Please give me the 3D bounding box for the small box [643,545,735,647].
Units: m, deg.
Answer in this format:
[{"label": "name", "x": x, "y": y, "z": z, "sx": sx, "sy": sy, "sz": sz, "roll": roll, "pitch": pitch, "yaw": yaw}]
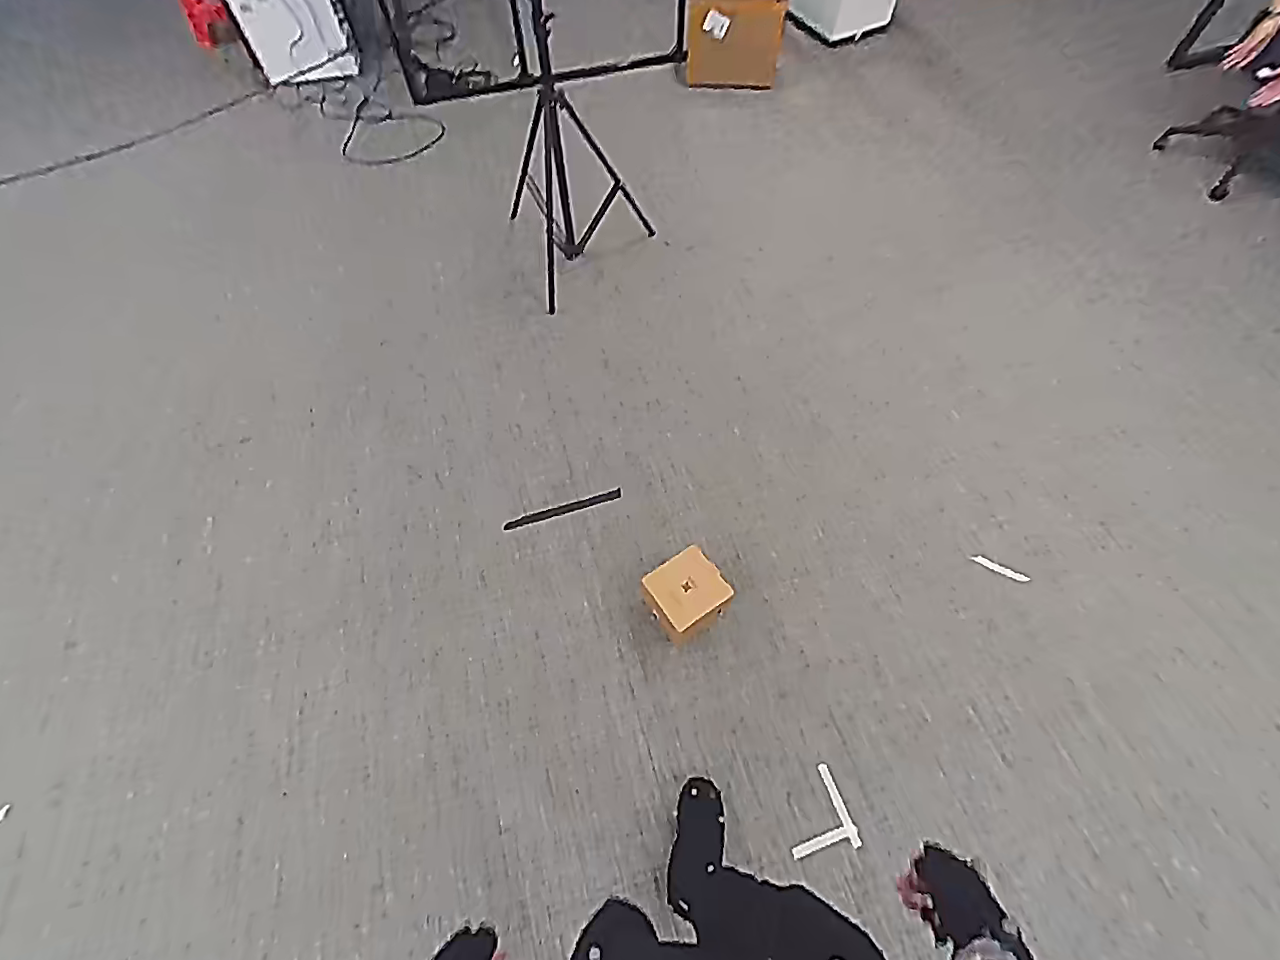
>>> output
[{"label": "small box", "x": 0.122, "y": 0.306, "z": 1.409, "sx": 0.179, "sy": 0.176, "sz": 0.168, "roll": -32, "pitch": 64, "yaw": -15}]
